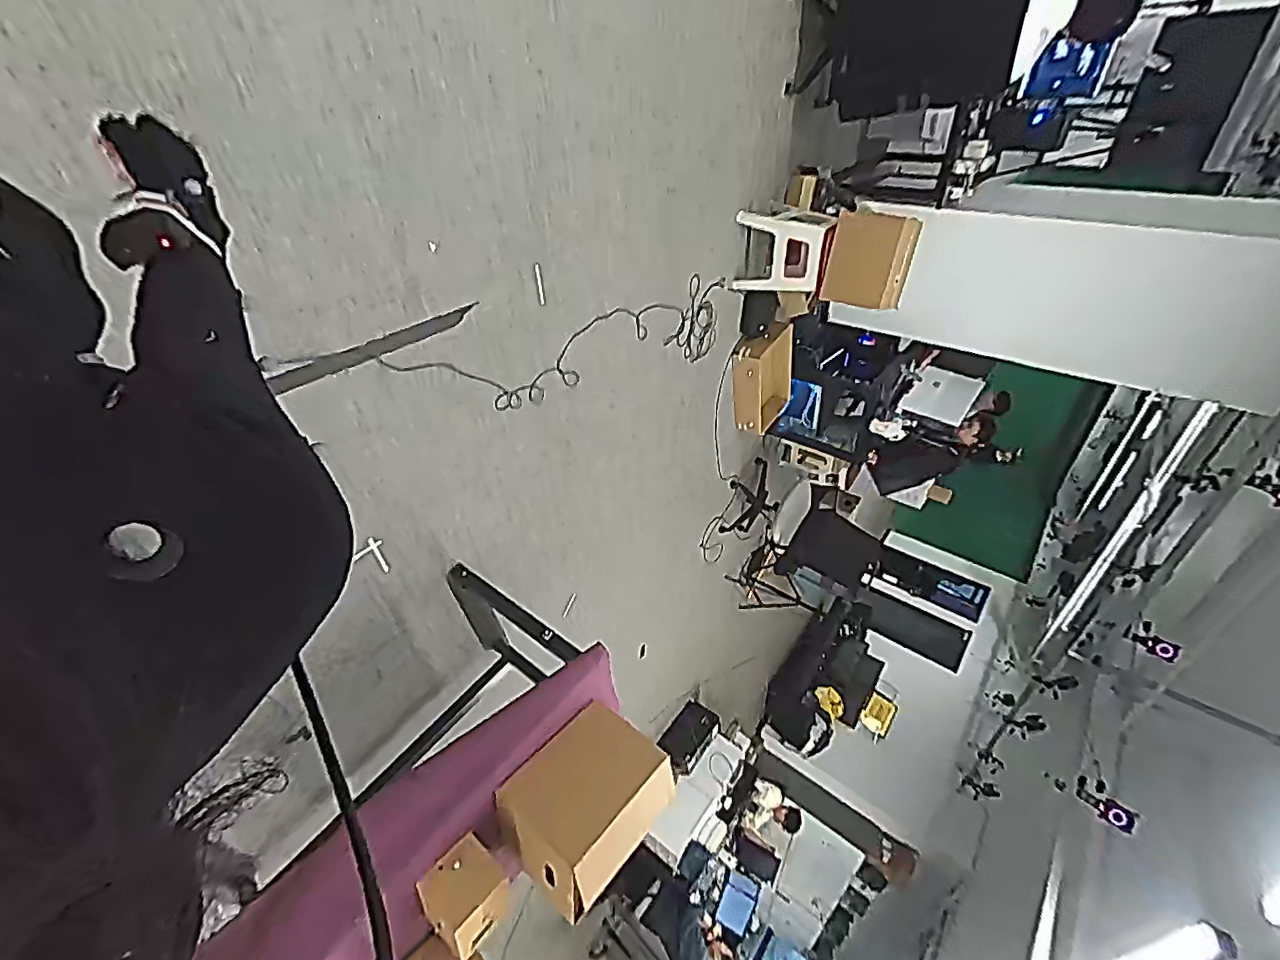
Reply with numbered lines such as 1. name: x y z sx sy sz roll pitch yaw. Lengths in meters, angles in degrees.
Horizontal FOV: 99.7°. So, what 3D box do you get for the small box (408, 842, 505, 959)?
1. small box: -0.471 1.089 1.394 0.168 0.176 0.179 -30 133 -45
